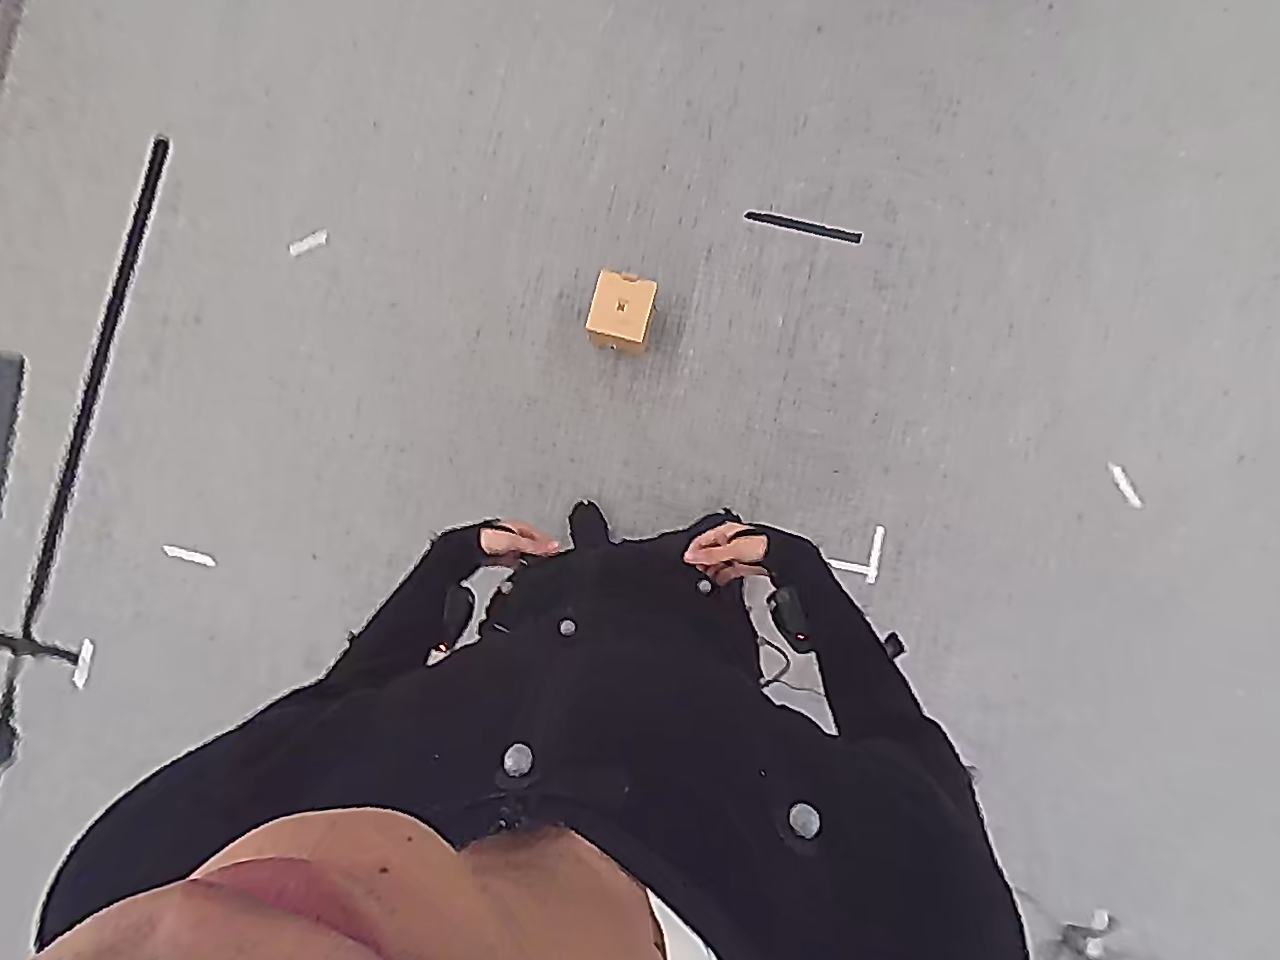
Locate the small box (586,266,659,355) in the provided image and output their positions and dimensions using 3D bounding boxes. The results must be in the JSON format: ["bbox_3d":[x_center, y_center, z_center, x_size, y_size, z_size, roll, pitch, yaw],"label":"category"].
[{"bbox_3d":[-0.048,-0.484,1.564,0.168,0.176,0.179,15,89,2],"label":"small box"}]
